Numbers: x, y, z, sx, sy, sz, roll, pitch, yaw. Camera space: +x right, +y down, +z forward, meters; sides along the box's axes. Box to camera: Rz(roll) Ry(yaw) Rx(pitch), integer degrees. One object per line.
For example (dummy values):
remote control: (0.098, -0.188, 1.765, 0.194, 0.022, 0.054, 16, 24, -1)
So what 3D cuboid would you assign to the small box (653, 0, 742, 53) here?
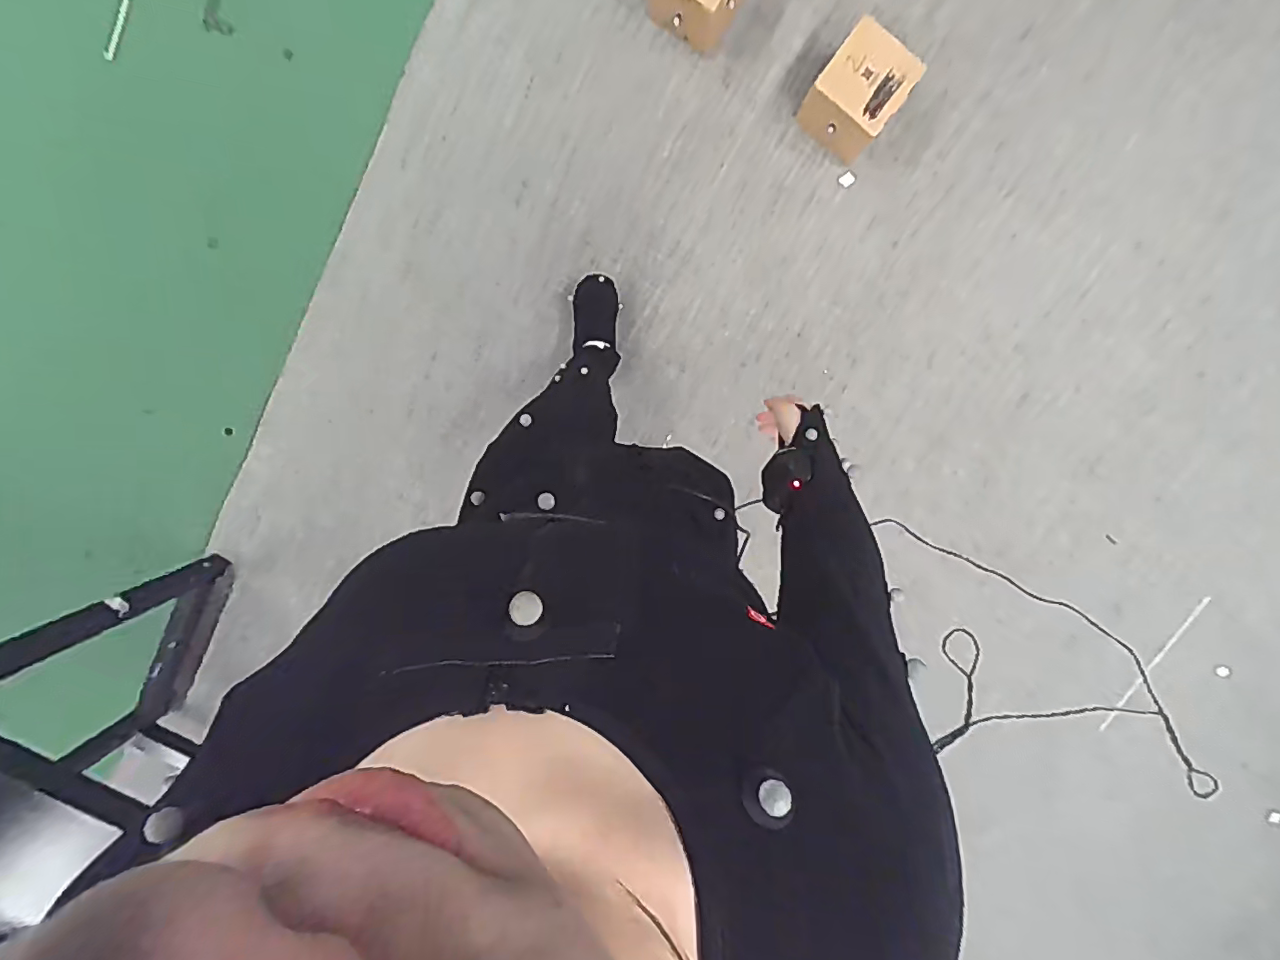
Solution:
small box: (0.135, -1.096, 1.178, 0.168, 0.176, 0.179, 34, 102, -5)
